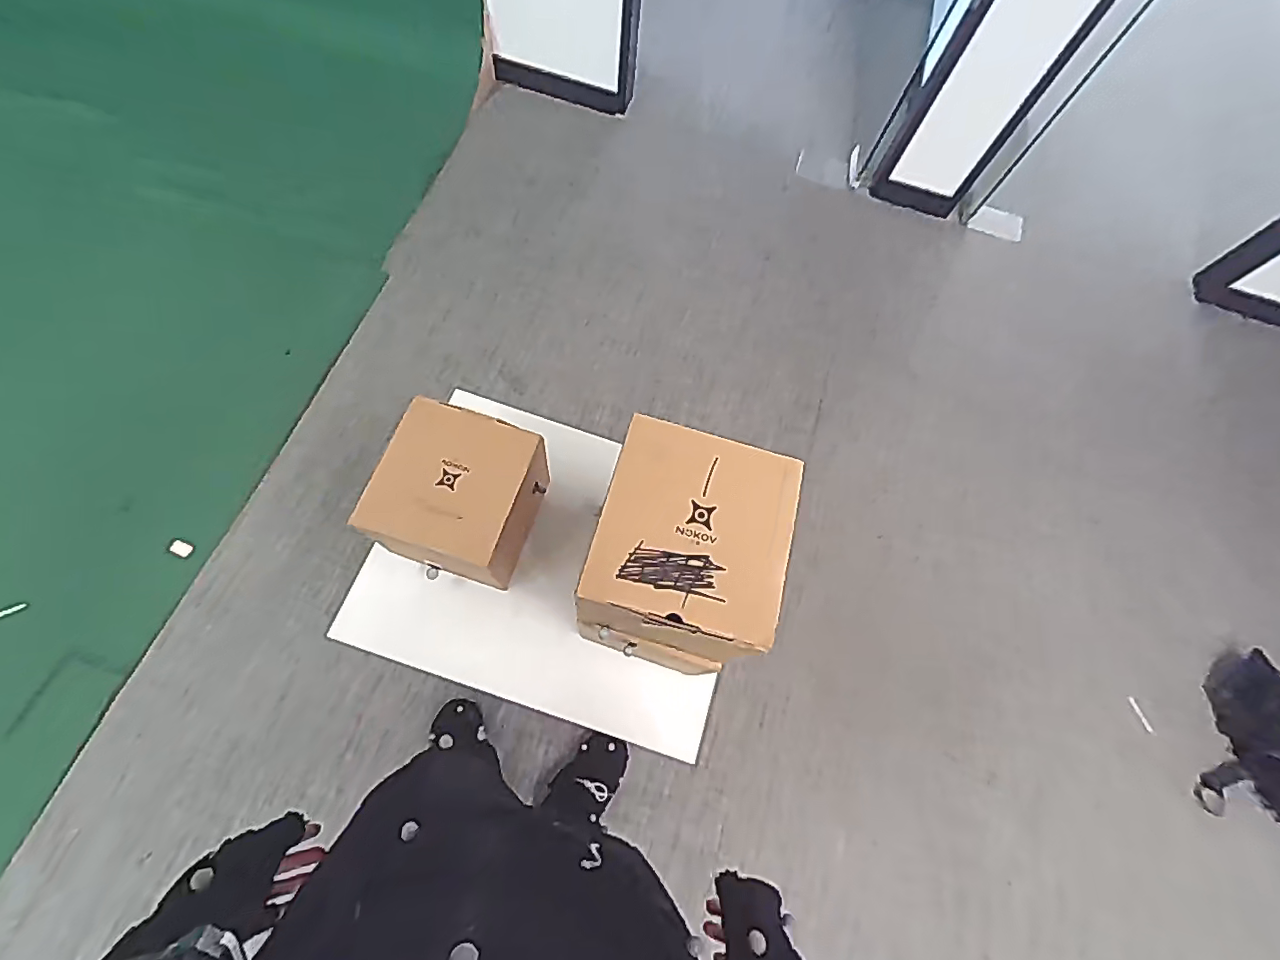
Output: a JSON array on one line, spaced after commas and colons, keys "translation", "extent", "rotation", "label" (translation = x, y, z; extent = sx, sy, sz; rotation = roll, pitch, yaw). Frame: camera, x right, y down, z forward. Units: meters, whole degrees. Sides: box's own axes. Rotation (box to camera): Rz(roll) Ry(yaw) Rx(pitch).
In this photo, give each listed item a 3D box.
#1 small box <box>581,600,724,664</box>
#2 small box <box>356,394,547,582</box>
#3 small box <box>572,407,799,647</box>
[{"translation": [0.029, 0.123, 0.693], "extent": [0.168, 0.176, 0.179], "rotation": [18, 69, 2], "label": "small box"}, {"translation": [-0.227, 0.019, 0.709], "extent": [0.168, 0.176, 0.179], "rotation": [16, 71, 1], "label": "small box"}, {"translation": [0.039, 0.059, 0.541], "extent": [0.168, 0.176, 0.179], "rotation": [16, 69, 1], "label": "small box"}]
